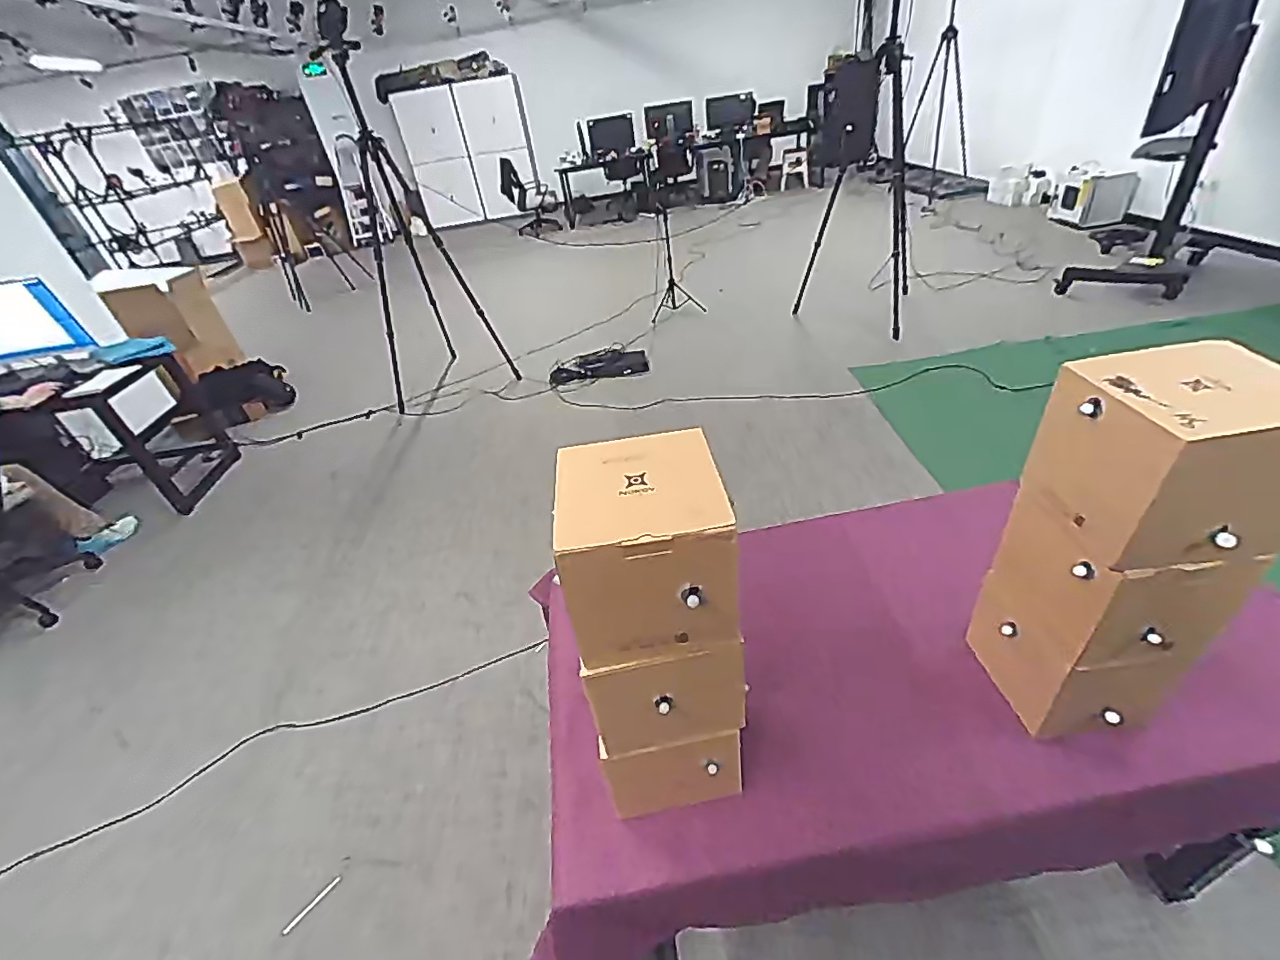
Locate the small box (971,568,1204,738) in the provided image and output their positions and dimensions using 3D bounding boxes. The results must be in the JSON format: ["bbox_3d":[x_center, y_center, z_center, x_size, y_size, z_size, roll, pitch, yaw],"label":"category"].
[{"bbox_3d":[0.611,0.234,0.772,0.168,0.176,0.179,-9,36,2],"label":"small box"}]

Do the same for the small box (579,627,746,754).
[{"bbox_3d":[0.023,0.207,0.669,0.179,0.176,0.168,-12,36,-3],"label":"small box"}]

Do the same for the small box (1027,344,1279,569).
[{"bbox_3d":[0.567,-0.025,0.577,0.179,0.176,0.168,-7,36,2],"label":"small box"}]

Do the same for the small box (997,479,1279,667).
[{"bbox_3d":[0.591,0.104,0.676,0.168,0.176,0.179,-9,37,1],"label":"small box"}]

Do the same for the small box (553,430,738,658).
[{"bbox_3d":[0.008,0.071,0.580,0.168,0.176,0.179,-8,35,-1],"label":"small box"}]
